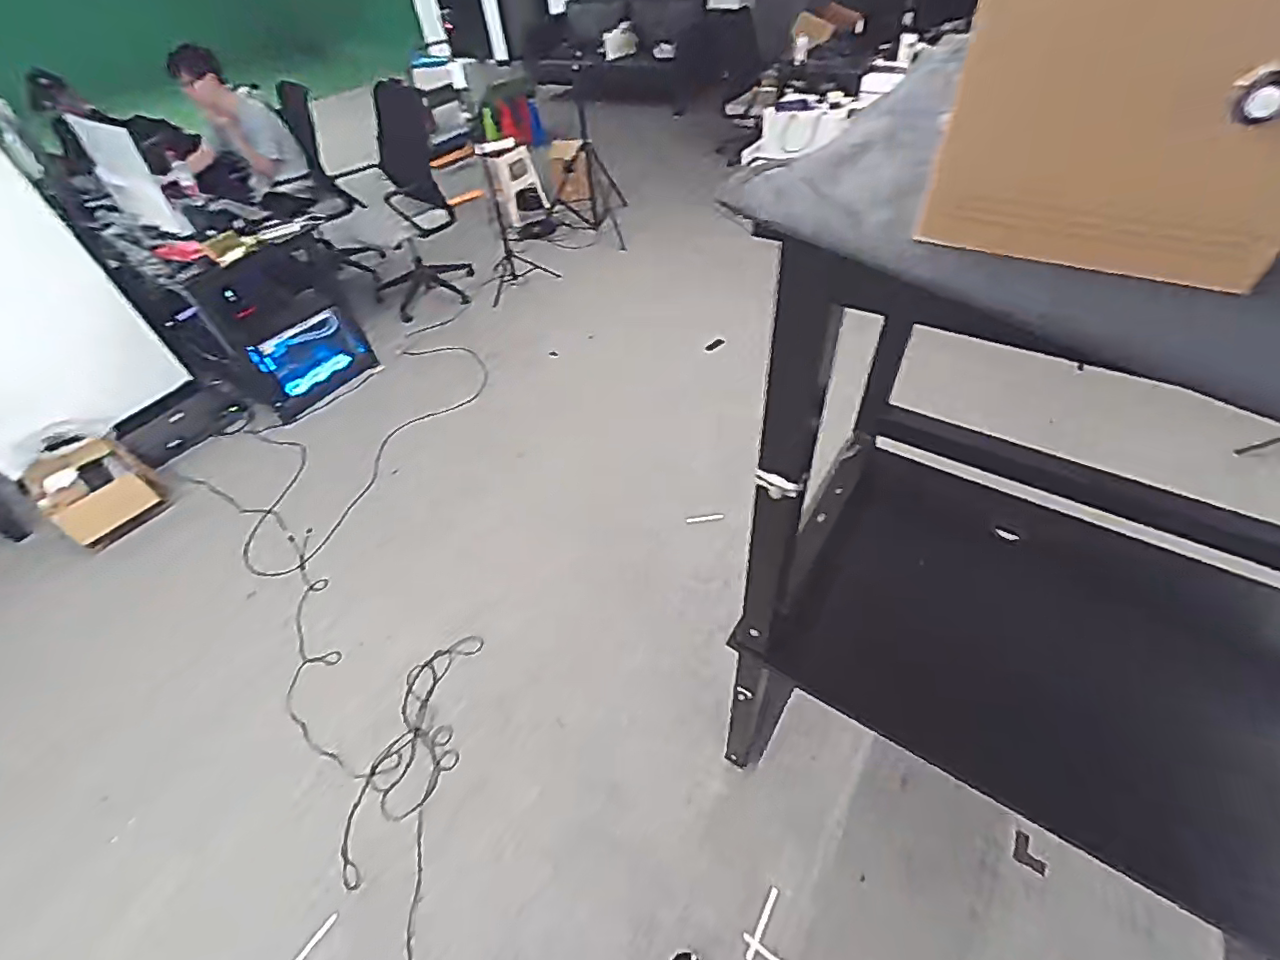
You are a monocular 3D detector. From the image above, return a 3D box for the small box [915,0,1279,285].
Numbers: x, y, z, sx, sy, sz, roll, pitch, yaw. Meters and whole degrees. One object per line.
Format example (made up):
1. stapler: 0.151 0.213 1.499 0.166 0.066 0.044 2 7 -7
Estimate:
1. small box: 0.293 -0.236 0.315 0.179 0.176 0.168 23 53 24
